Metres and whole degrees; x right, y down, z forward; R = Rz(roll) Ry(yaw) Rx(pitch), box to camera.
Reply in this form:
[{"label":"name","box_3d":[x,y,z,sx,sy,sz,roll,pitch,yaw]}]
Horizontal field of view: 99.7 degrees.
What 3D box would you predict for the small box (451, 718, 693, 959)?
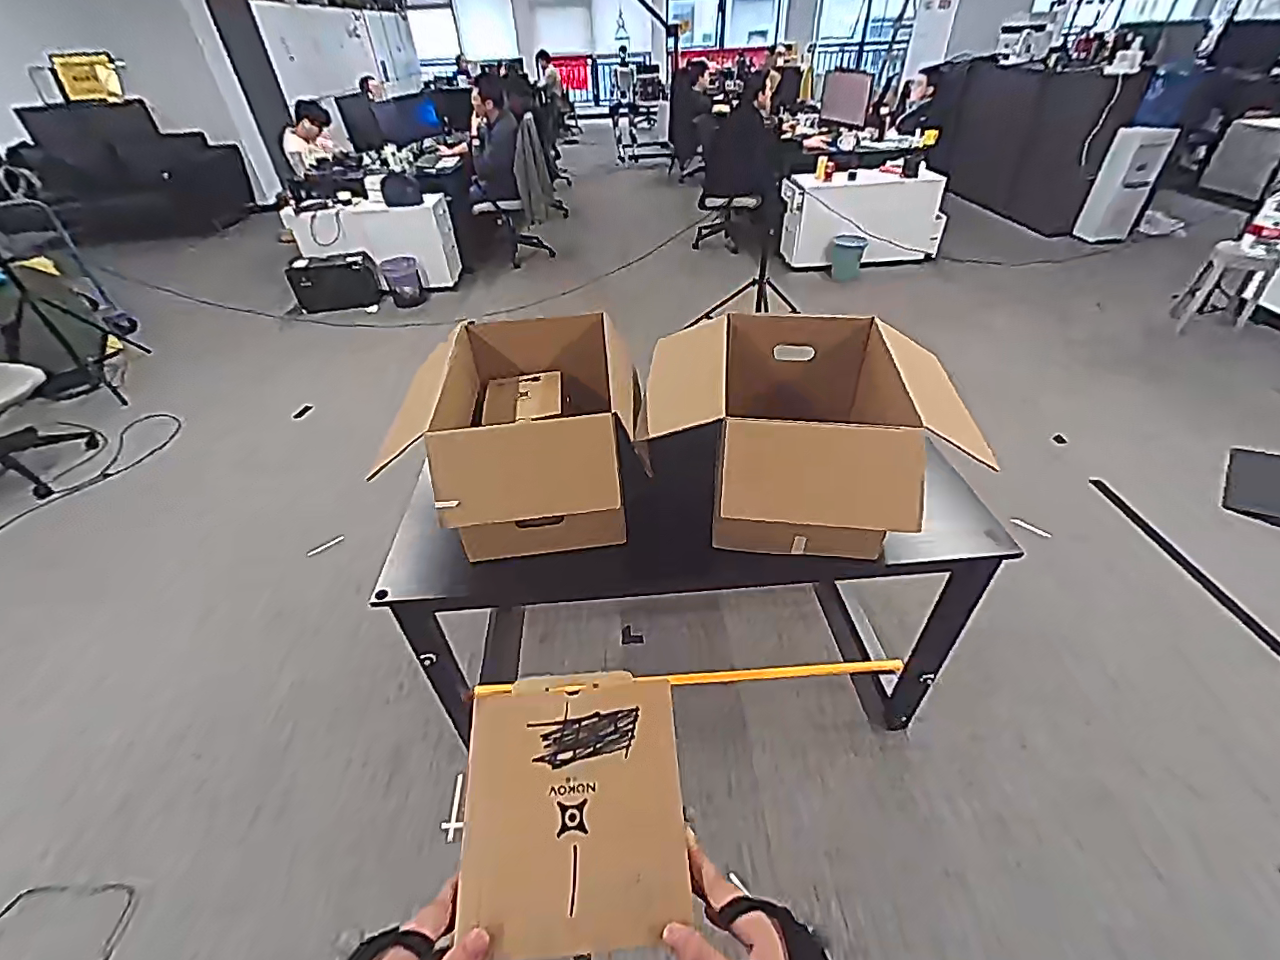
[{"label":"small box","box_3d":[-0.051,0.321,0.465,0.168,0.176,0.179,-4,54,-3]}]
